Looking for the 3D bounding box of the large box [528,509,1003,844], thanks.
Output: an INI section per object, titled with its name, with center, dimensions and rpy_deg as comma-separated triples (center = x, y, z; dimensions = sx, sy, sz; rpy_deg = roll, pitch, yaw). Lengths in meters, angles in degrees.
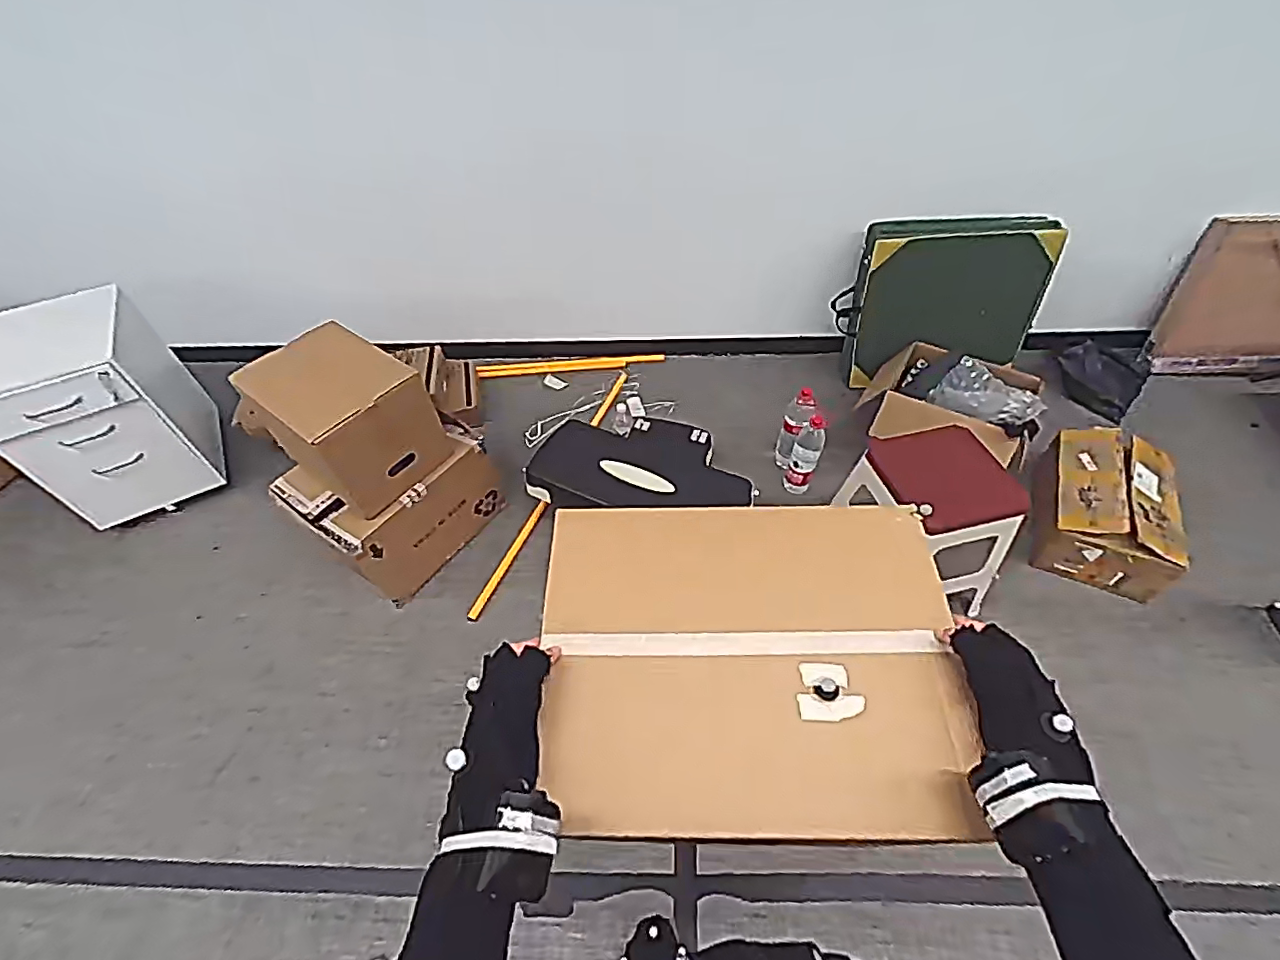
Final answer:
[large box]
center = 0.105, 0.247, 0.653
dimensions = 0.408, 0.320, 0.320
rpy_deg = -1, 55, 2
